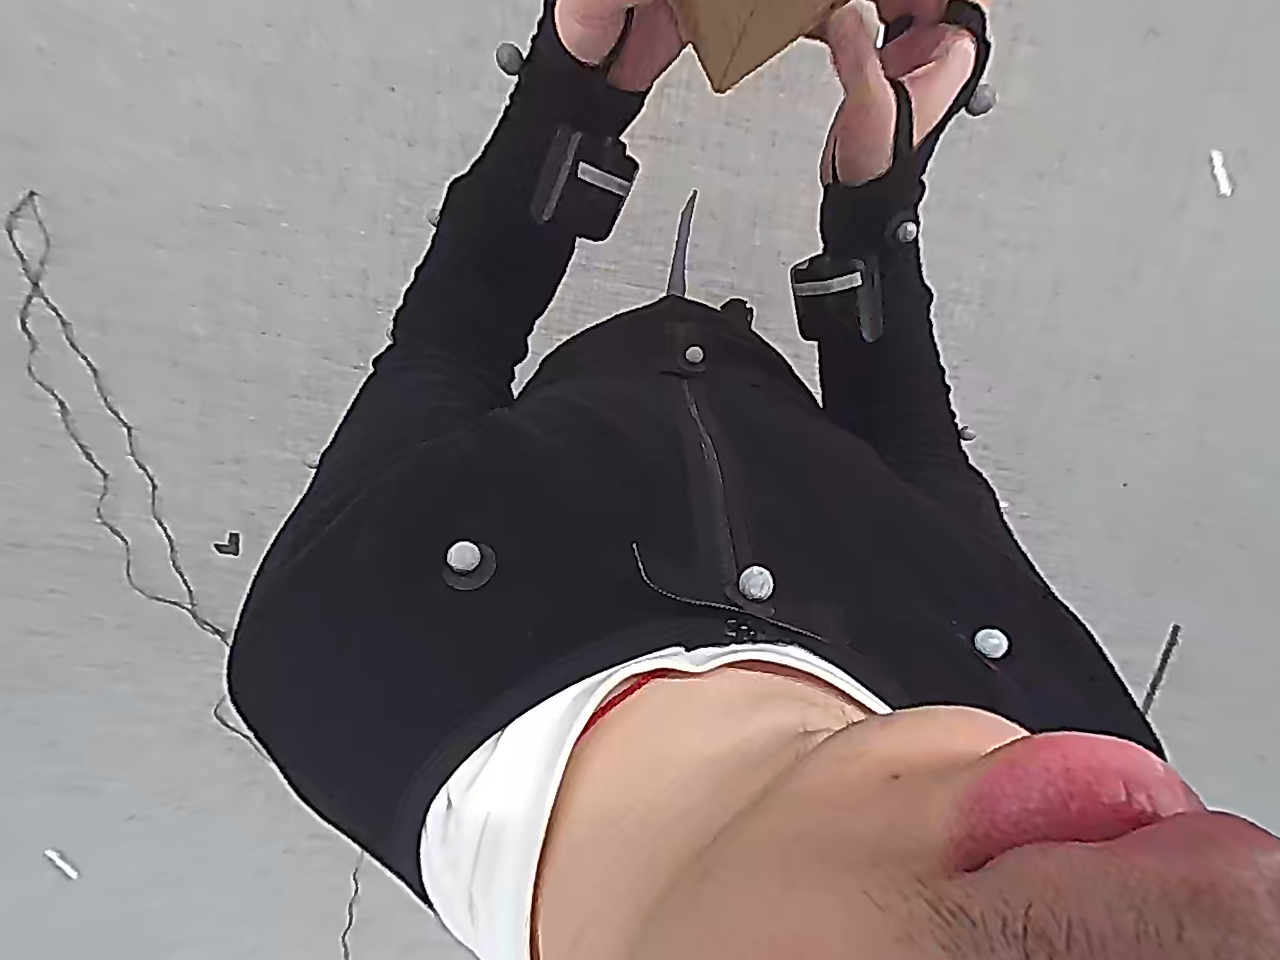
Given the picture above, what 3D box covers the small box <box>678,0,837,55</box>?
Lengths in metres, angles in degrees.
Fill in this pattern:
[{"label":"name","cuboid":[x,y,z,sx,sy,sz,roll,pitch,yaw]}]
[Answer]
[{"label":"small box","cuboid":[0.069,-0.295,0.186,0.168,0.176,0.179,-31,108,11]}]
